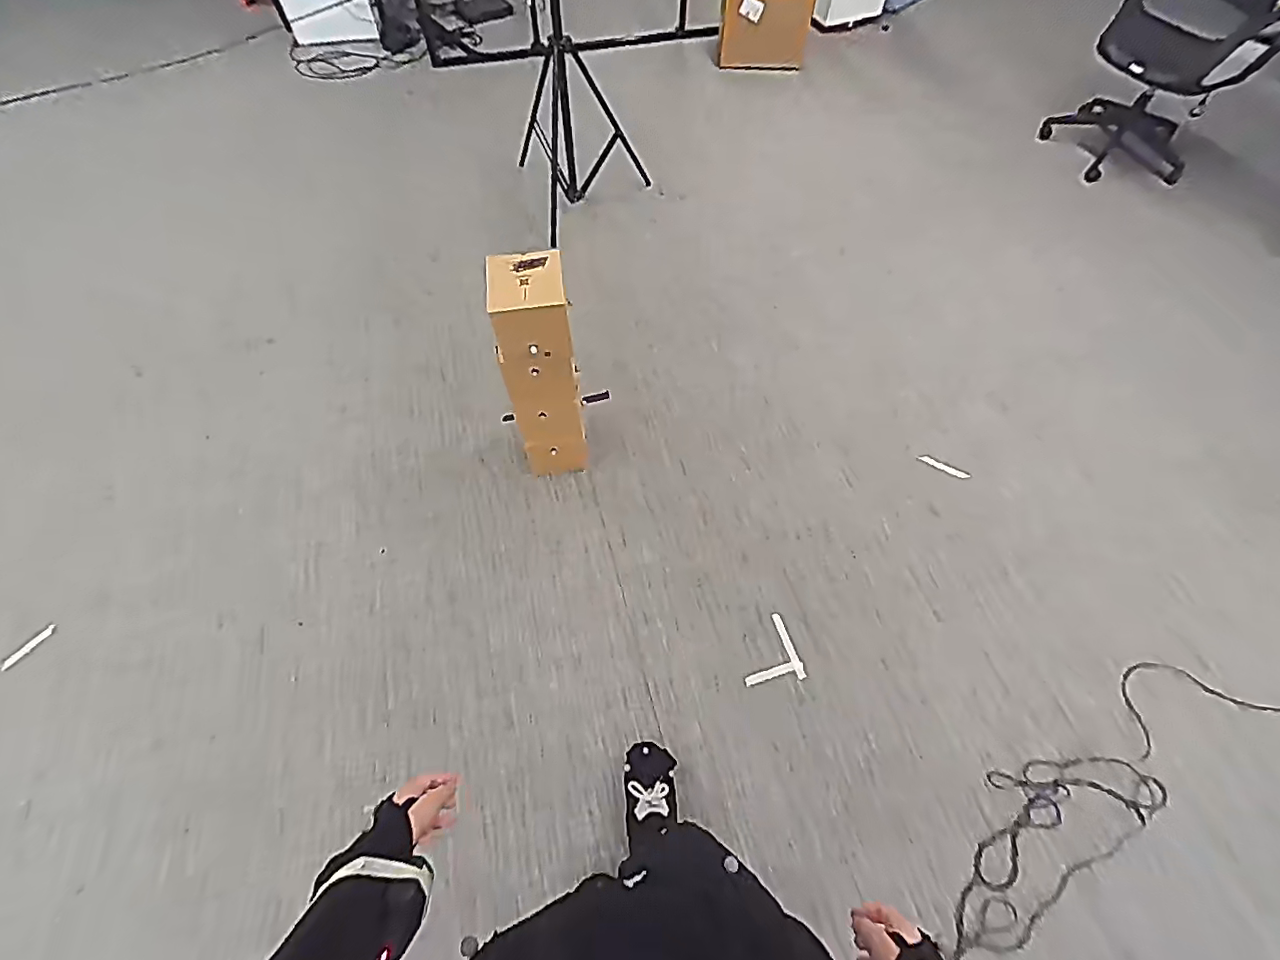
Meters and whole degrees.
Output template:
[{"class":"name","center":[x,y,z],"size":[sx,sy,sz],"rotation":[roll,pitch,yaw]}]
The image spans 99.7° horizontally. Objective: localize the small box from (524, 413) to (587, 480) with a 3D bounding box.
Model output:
[{"class":"small box","center":[-0.258,-0.115,1.661],"size":[0.179,0.176,0.168],"rotation":[-7,60,-4]}]

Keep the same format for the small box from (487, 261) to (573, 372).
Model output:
[{"class":"small box","center":[-0.250,-0.373,1.244],"size":[0.168,0.176,0.179],"rotation":[-7,62,-3]}]

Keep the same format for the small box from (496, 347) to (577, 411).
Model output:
[{"class":"small box","center":[-0.263,-0.292,1.387],"size":[0.179,0.176,0.168],"rotation":[-7,61,-4]}]

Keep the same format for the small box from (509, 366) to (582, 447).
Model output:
[{"class":"small box","center":[-0.261,-0.204,1.523],"size":[0.179,0.176,0.168],"rotation":[-4,61,-2]}]
